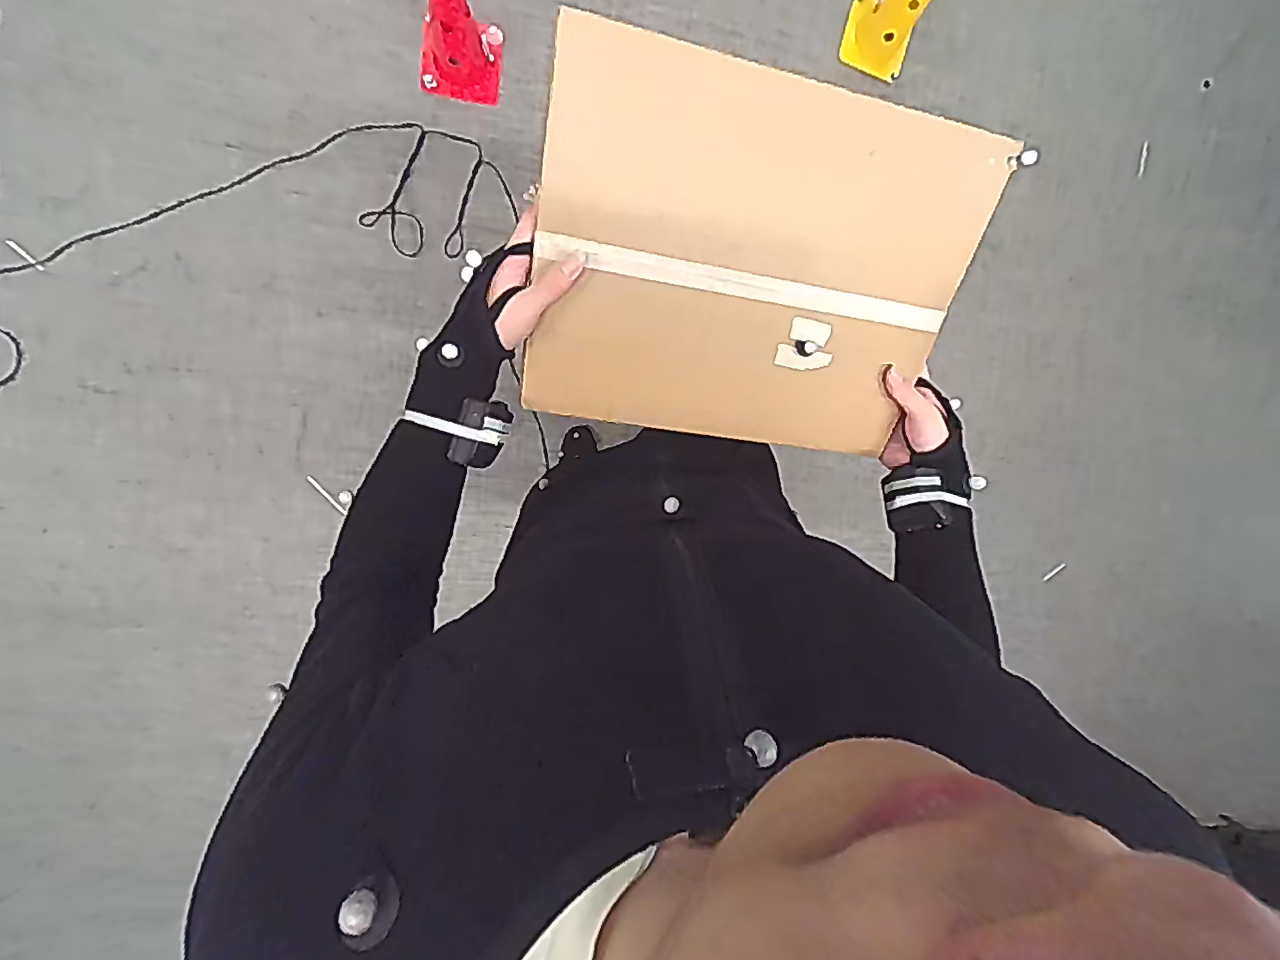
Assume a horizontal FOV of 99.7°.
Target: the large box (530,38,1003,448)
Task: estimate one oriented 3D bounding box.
[{"bbox_3d":[0.085,-0.256,0.638,0.408,0.320,0.320,5,120,-12],"label":"large box"}]
